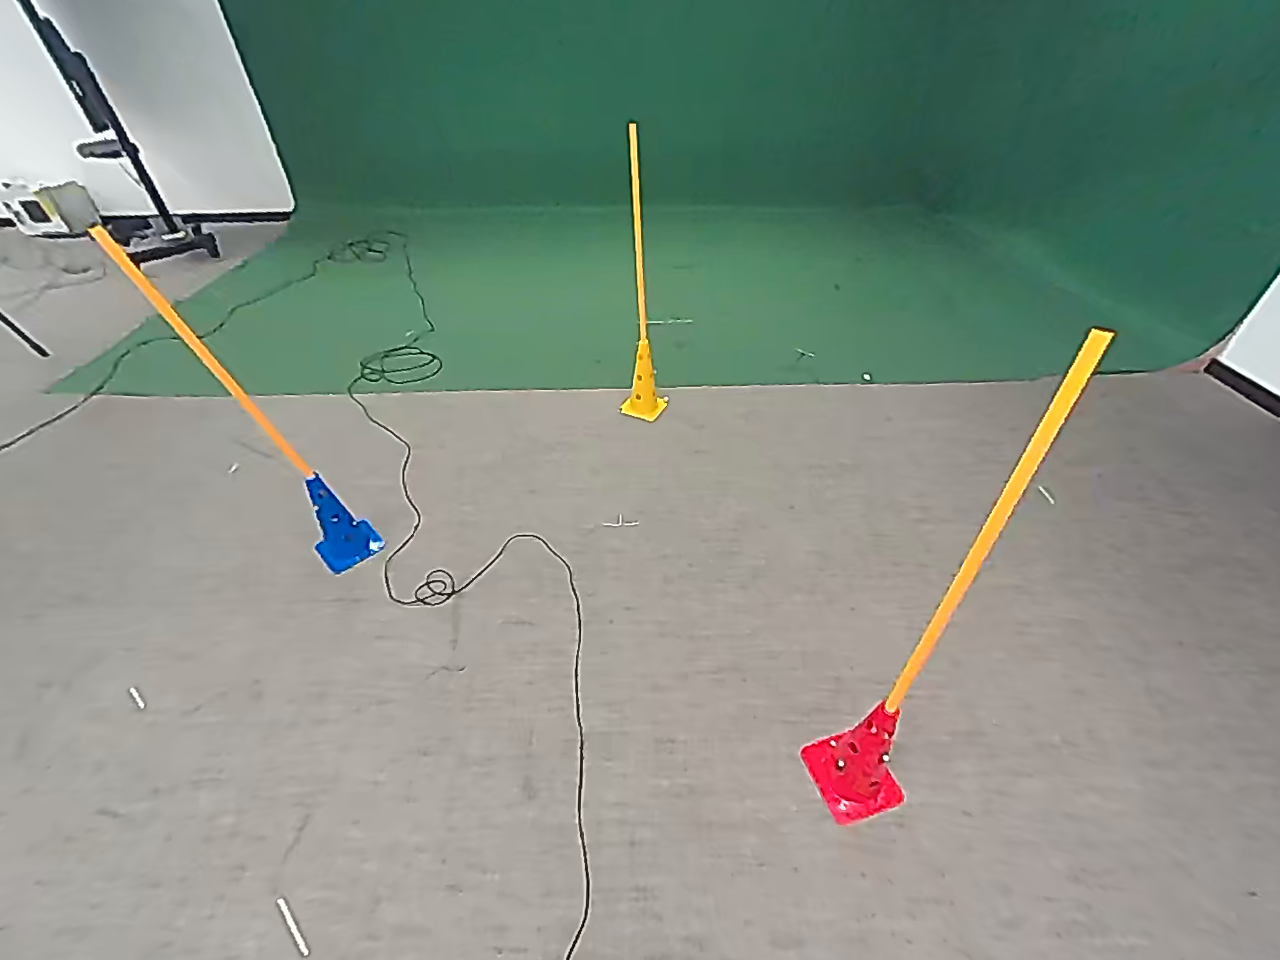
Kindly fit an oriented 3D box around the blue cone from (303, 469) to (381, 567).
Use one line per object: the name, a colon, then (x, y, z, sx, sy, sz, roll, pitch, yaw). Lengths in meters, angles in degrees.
blue cone: (-1.083, 0.114, 1.901, 0.192, 0.380, 0.193, 32, 53, 30)
